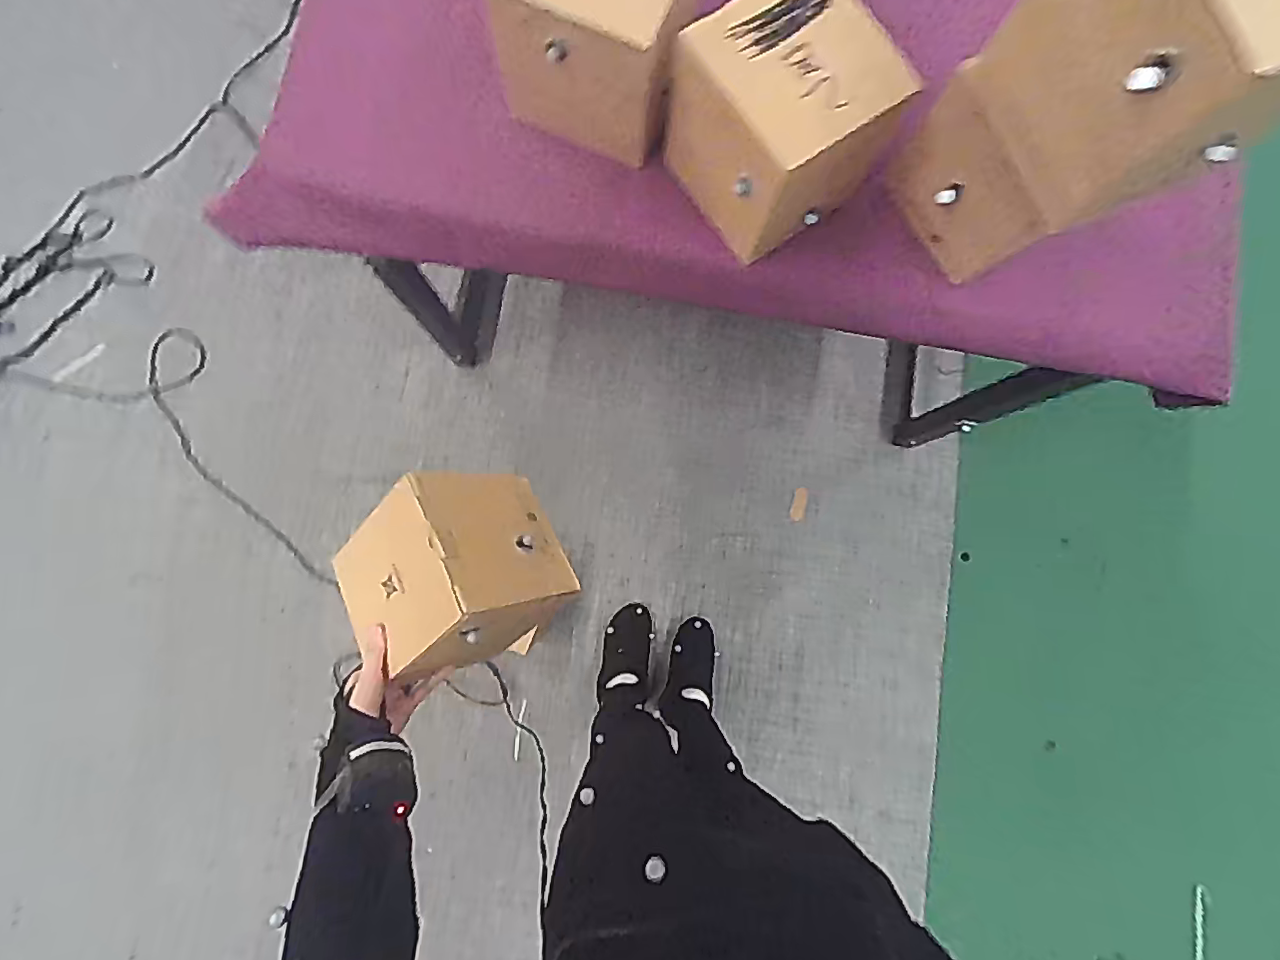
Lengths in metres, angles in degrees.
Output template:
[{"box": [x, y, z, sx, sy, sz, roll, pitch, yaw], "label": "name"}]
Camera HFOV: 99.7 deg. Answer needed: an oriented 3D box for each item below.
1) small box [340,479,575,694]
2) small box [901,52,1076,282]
[{"box": [-0.209, 0.119, 0.630, 0.179, 0.176, 0.168, -42, 66, 24], "label": "small box"}, {"box": [0.424, -0.354, 0.599, 0.179, 0.176, 0.168, -29, 84, -5], "label": "small box"}]
